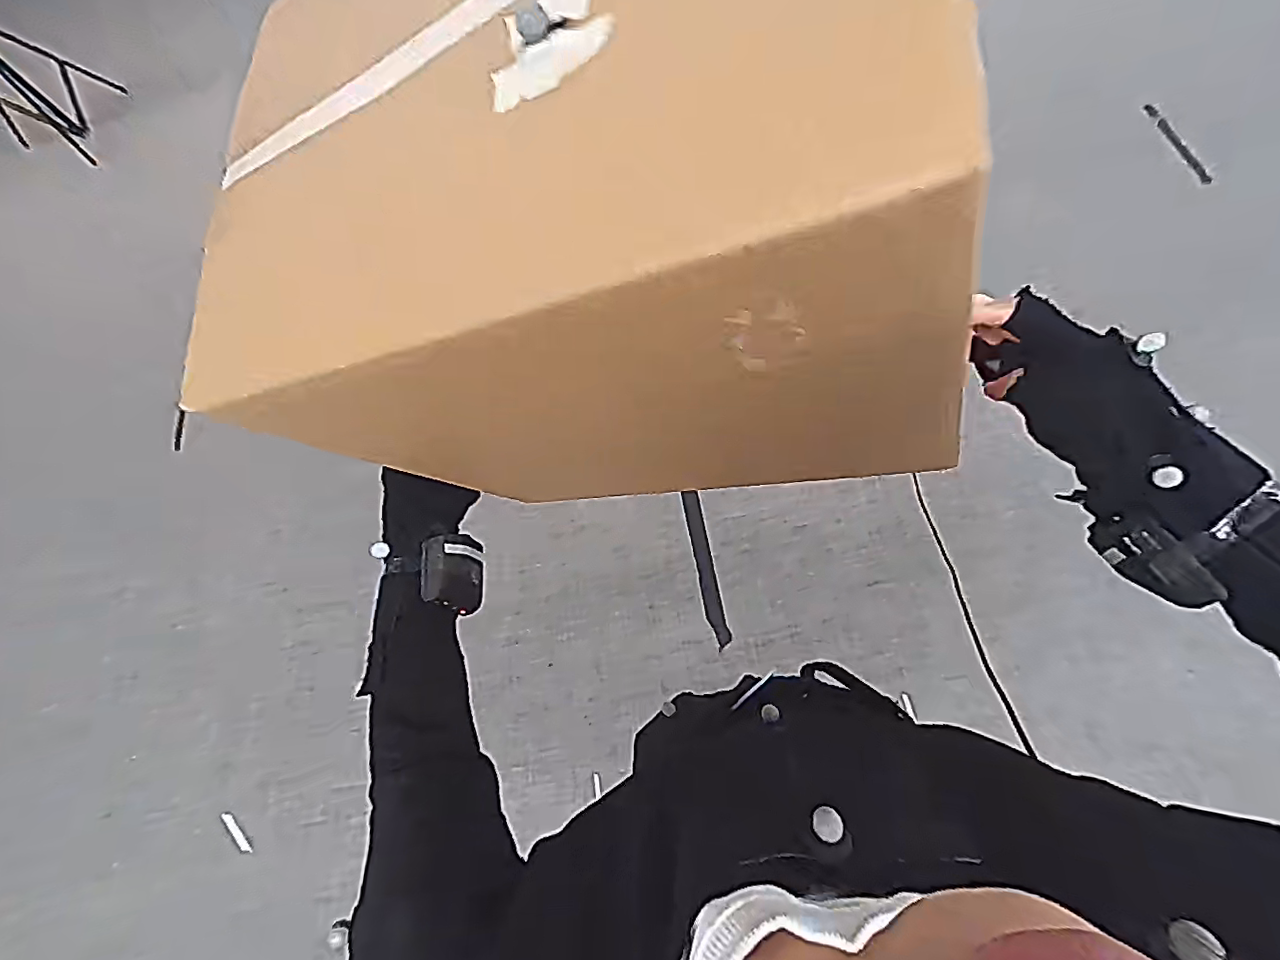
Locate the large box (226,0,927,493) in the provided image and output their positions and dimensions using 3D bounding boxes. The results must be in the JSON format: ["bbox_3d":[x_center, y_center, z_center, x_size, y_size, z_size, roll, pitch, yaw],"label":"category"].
[{"bbox_3d":[-0.020,-0.184,0.421,0.408,0.320,0.320,-6,76,27],"label":"large box"}]
